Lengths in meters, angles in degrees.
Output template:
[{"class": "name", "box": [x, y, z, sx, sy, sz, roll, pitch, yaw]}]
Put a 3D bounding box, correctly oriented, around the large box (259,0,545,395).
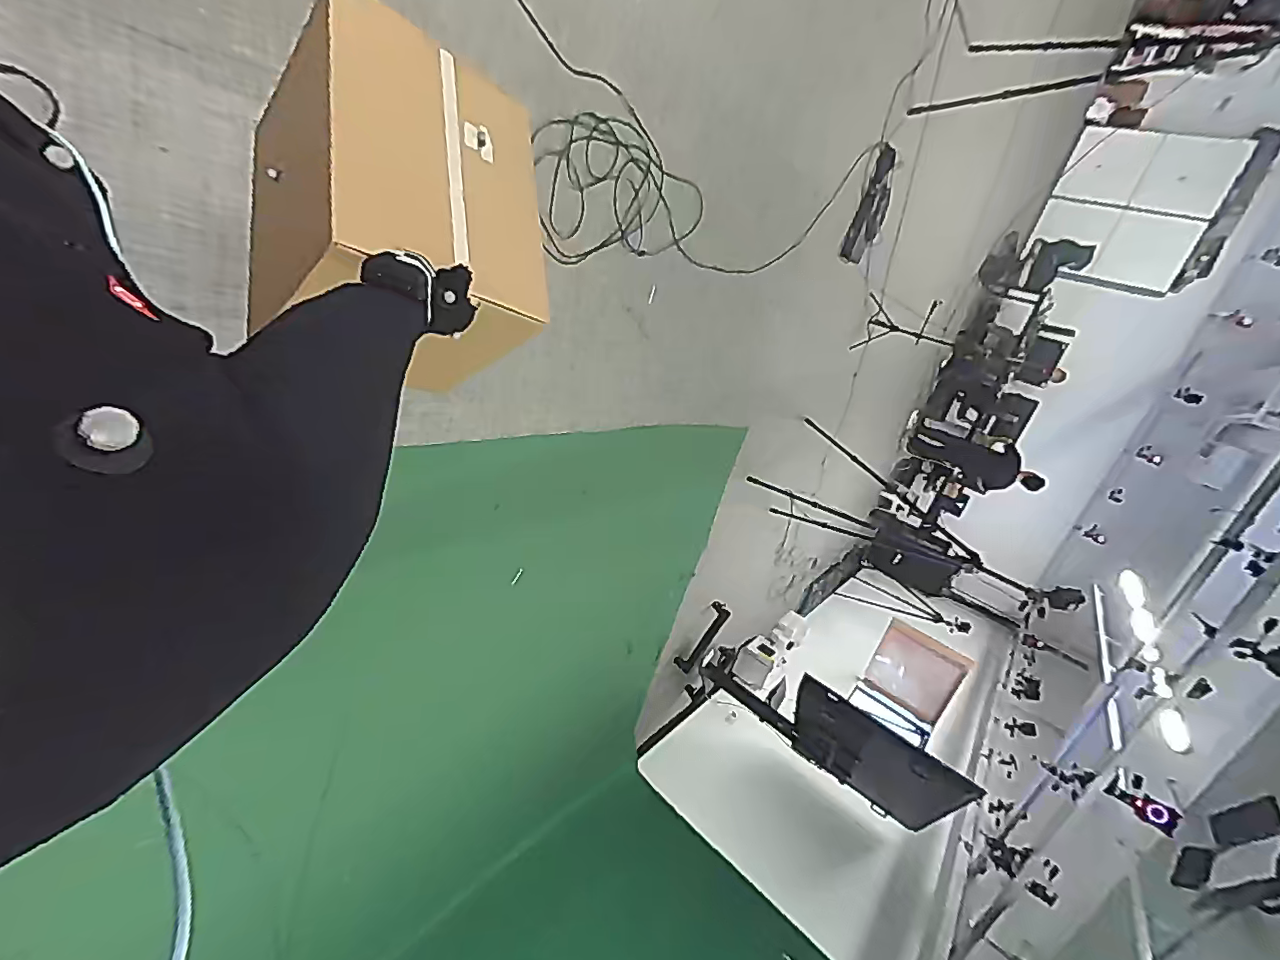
[{"class": "large box", "box": [-0.388, -0.395, 0.865, 0.320, 0.320, 0.408, 7, 69, -49]}]
